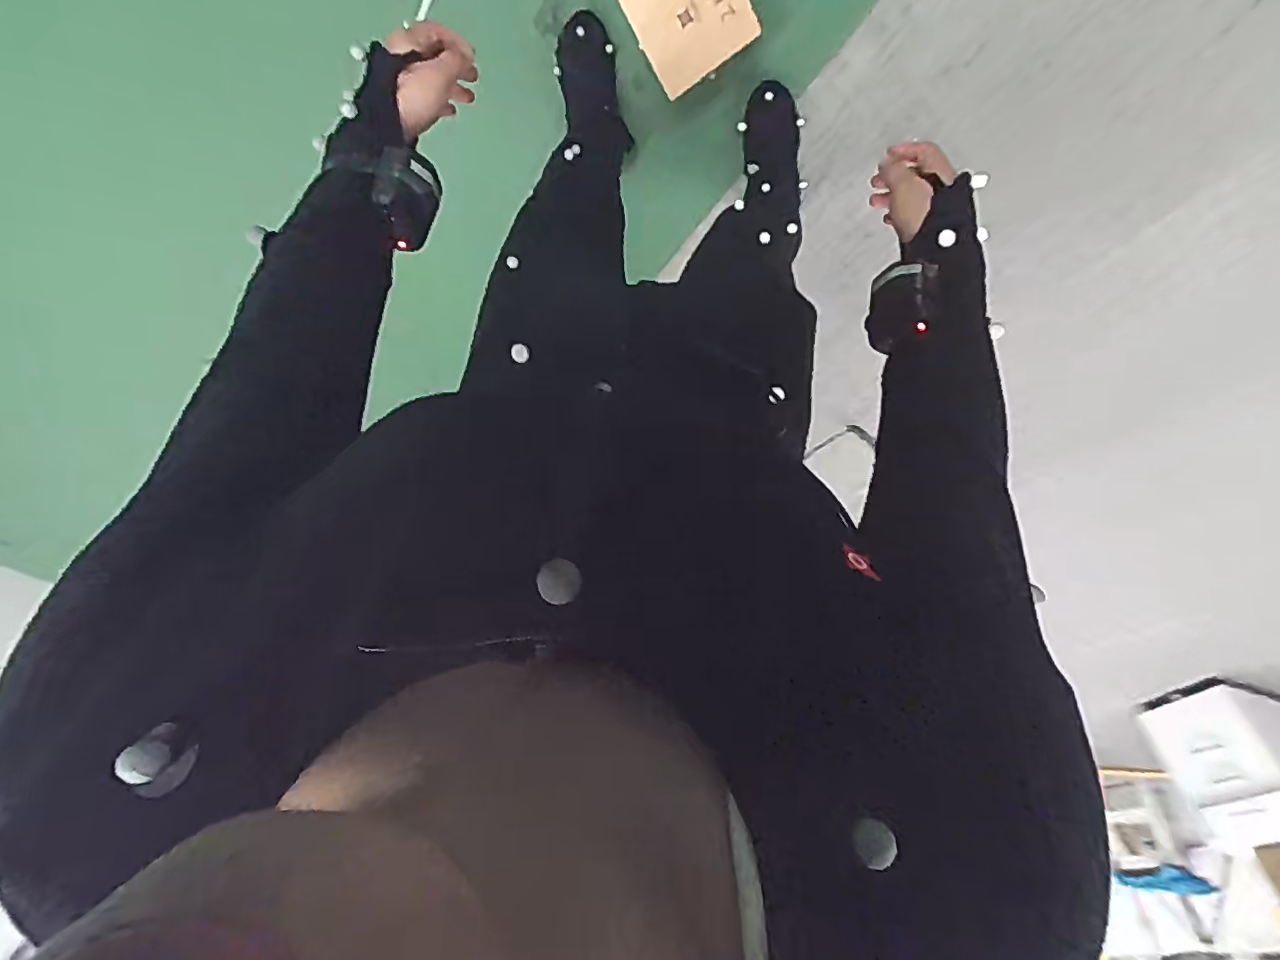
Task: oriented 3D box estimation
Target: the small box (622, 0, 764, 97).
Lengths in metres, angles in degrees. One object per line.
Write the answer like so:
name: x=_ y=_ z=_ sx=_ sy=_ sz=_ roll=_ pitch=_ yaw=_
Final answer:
small box: x=0.090 y=-0.793 z=0.907 sx=0.179 sy=0.176 sz=0.168 roll=-23 pitch=129 yaw=25
